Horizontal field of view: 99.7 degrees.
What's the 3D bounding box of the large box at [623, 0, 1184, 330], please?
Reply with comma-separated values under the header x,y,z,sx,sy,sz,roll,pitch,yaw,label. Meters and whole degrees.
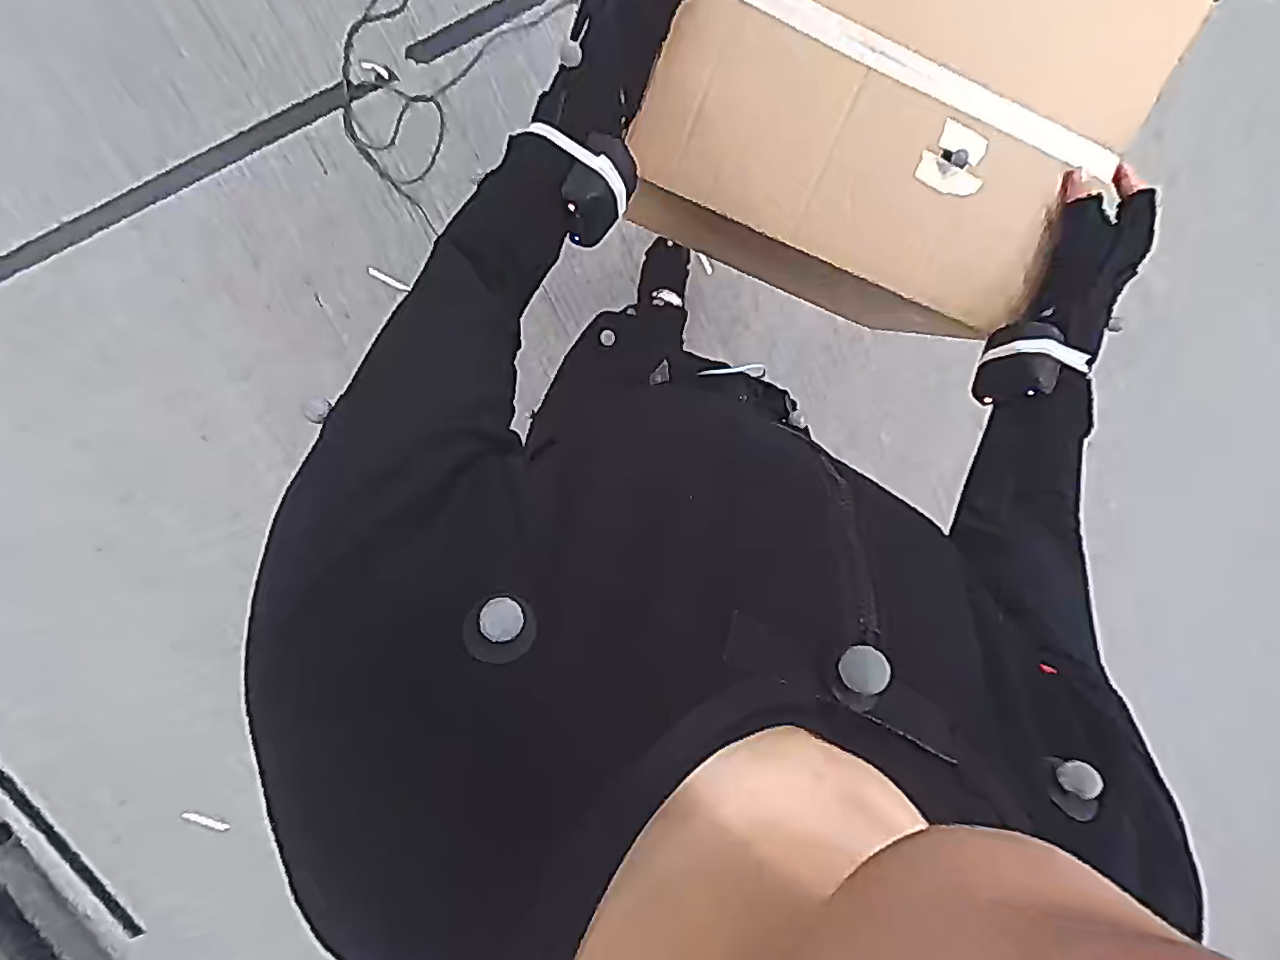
x,y,z,sx,sy,sz,roll,pitch,yaw,label
0.216,-0.394,0.605,0.408,0.320,0.320,21,108,-9,large box
